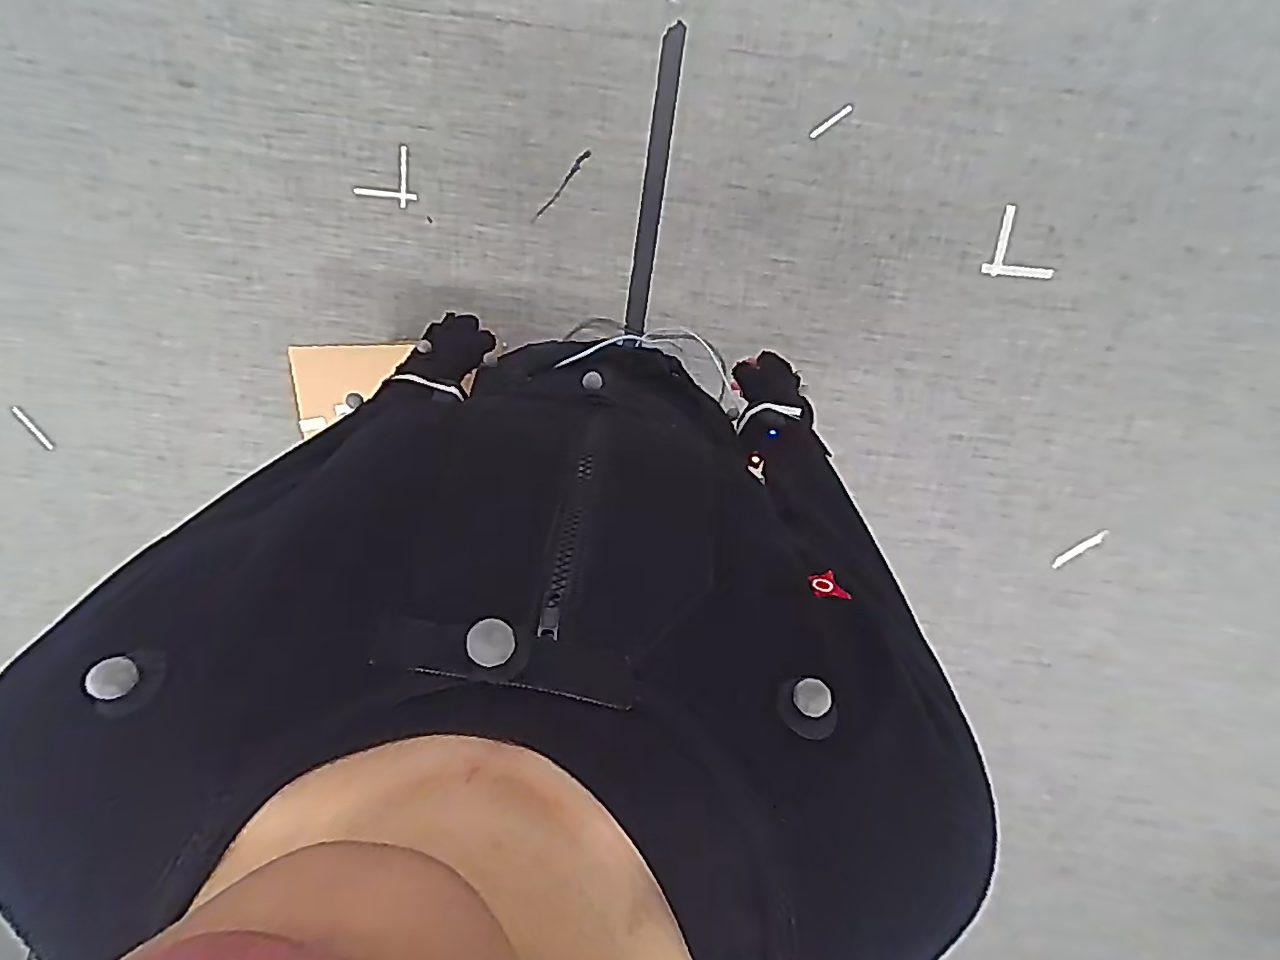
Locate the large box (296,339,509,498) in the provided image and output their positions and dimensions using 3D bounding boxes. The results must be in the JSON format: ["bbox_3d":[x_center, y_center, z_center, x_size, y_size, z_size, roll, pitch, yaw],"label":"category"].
[{"bbox_3d":[-0.519,-0.164,1.273,0.320,0.408,0.320,1,106,0],"label":"large box"}]
